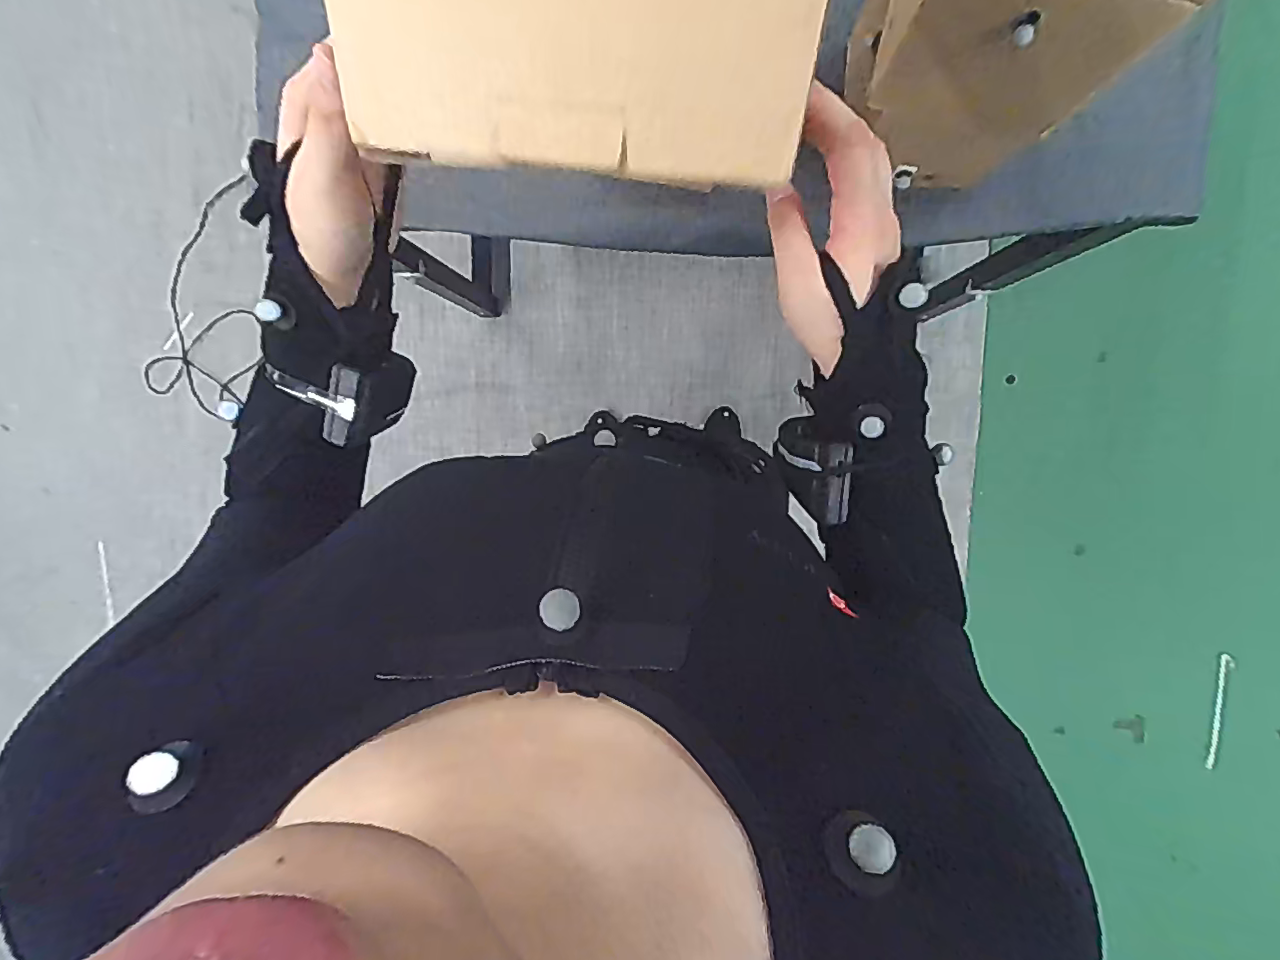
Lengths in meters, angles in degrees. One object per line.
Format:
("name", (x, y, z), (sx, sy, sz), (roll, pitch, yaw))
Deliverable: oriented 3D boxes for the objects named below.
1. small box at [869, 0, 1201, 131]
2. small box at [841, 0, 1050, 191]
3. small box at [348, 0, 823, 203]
("small box", (0.315, -0.418, 0.436), (0.179, 0.176, 0.168), (14, 96, 5))
("small box", (0.330, -0.447, 0.596), (0.168, 0.176, 0.179), (3, 96, 5))
("small box", (-0.012, -0.225, 0.222), (0.168, 0.179, 0.176), (8, 126, 4))
